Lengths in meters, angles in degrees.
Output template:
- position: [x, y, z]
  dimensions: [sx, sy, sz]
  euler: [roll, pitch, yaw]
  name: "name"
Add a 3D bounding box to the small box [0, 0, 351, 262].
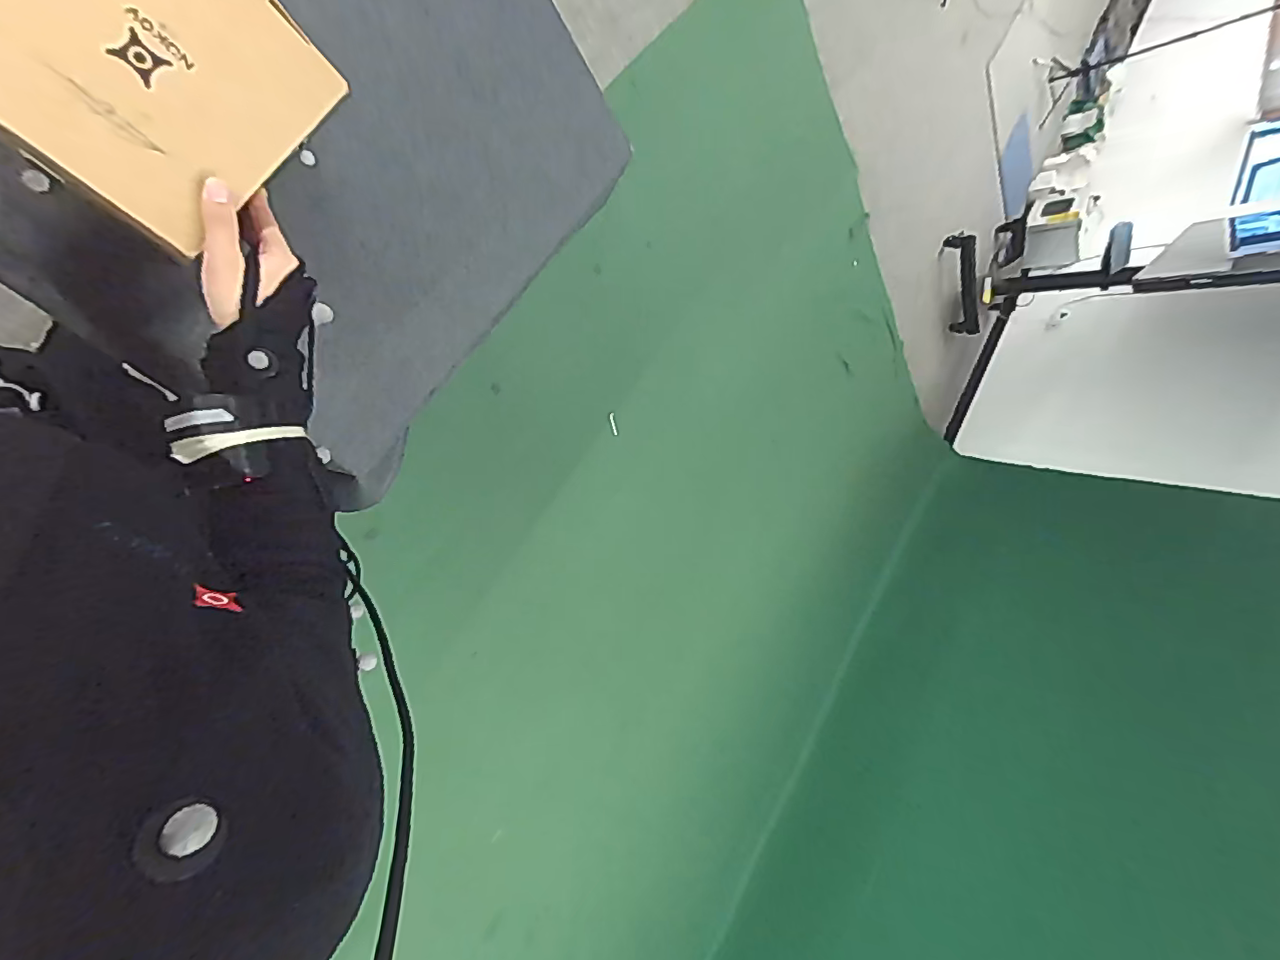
- position: [-0.355, -0.283, 0.391]
  dimensions: [0.168, 0.176, 0.179]
  euler: [42, 77, -42]
  name: "small box"
